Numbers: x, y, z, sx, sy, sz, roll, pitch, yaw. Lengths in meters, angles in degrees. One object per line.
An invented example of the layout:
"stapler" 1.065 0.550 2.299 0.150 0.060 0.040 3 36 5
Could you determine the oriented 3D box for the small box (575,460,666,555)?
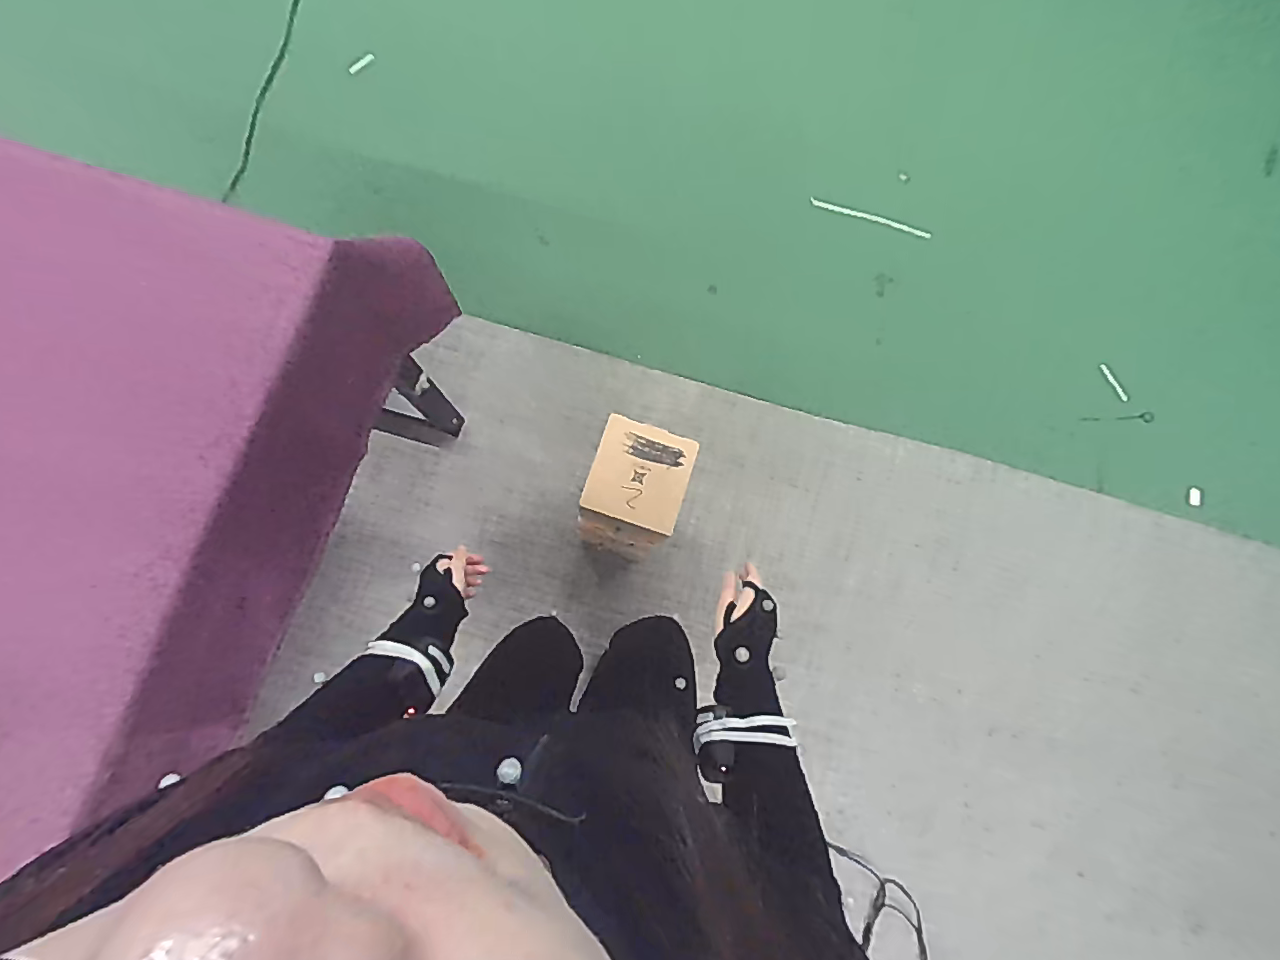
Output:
"small box" -0.048 0.074 1.317 0.168 0.176 0.179 20 78 0
